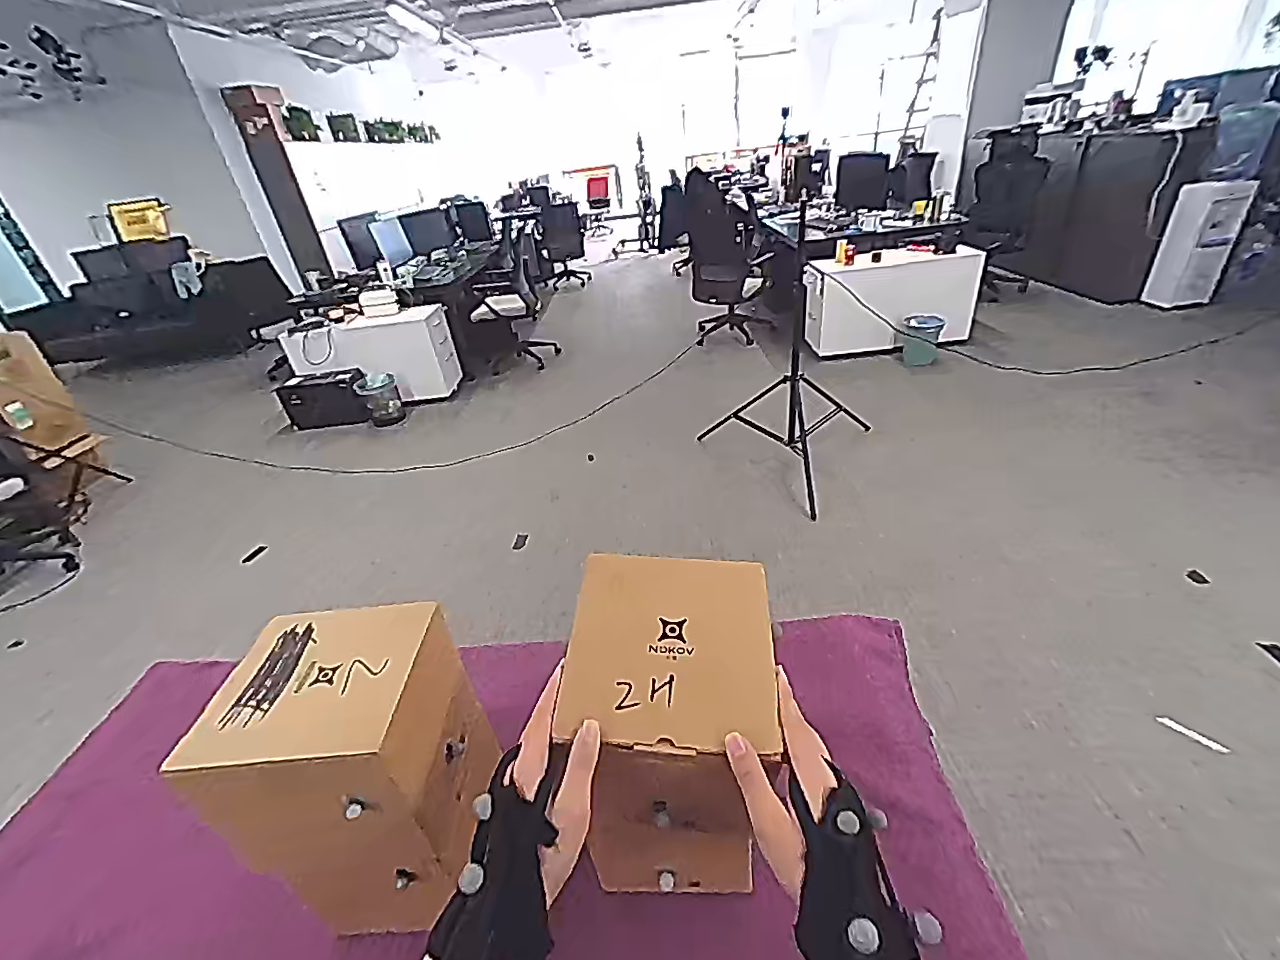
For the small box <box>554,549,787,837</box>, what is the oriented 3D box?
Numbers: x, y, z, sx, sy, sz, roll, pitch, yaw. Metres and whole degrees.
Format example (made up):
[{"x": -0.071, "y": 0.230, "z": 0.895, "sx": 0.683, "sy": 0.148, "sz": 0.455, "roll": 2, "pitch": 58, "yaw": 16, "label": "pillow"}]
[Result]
[{"x": 0.029, "y": 0.186, "z": 0.486, "sx": 0.168, "sy": 0.176, "sz": 0.179, "roll": 3, "pitch": 41, "yaw": 5, "label": "small box"}]

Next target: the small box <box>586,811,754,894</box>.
[{"x": 0.038, "y": 0.334, "z": 0.619, "sx": 0.168, "sy": 0.176, "sz": 0.179, "roll": -4, "pitch": 32, "yaw": 6, "label": "small box"}]

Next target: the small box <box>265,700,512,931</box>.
[{"x": -0.262, "y": 0.379, "z": 0.614, "sx": 0.179, "sy": 0.176, "sz": 0.168, "roll": -5, "pitch": 31, "yaw": 3, "label": "small box"}]
